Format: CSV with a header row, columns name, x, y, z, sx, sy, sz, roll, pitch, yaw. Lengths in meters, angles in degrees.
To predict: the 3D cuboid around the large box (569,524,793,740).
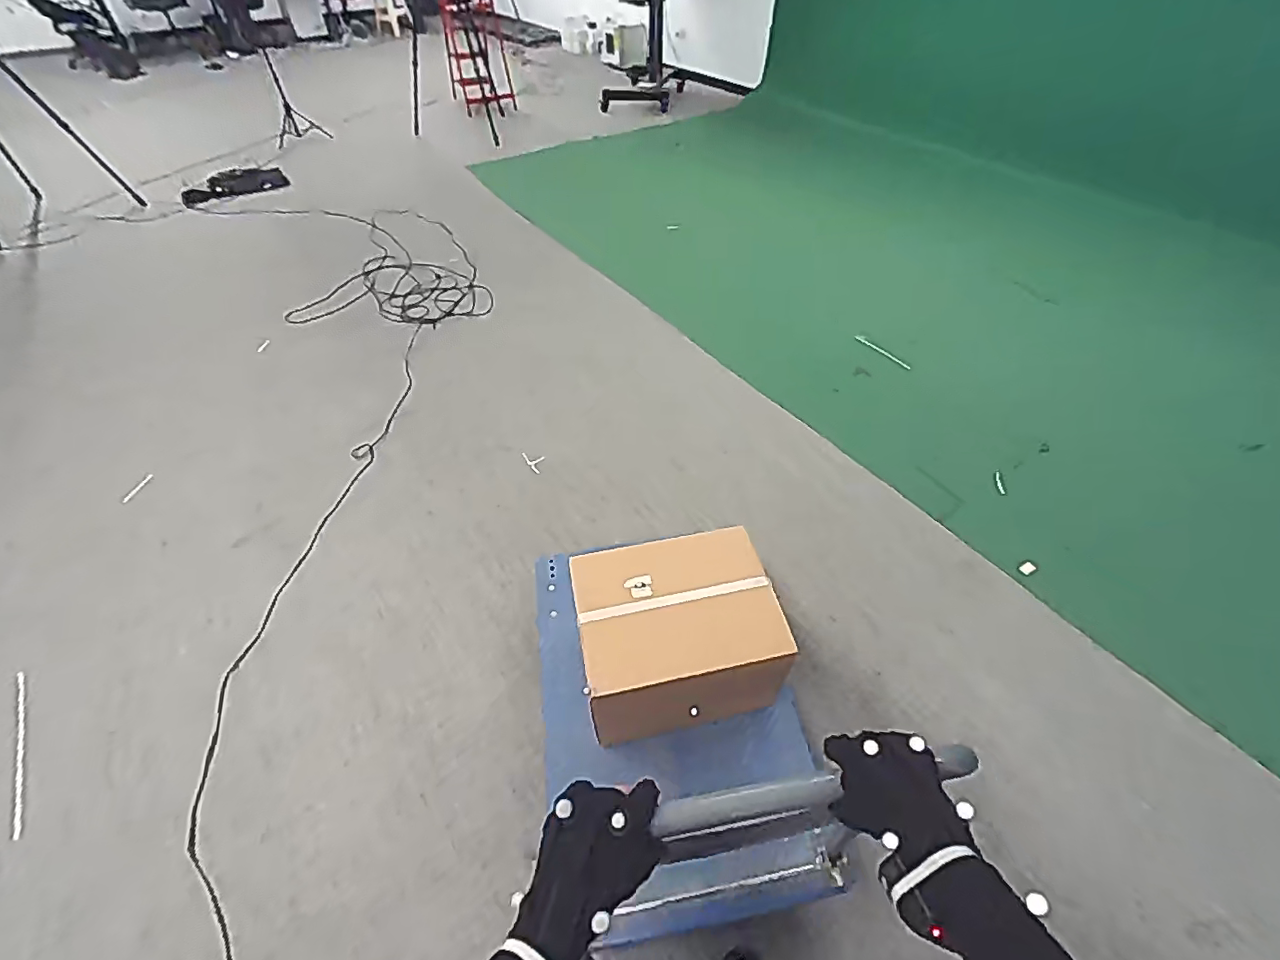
name,x,y,z,sx,sy,sz,roll,pitch,yaw
large box,0.074,0.343,1.219,0.408,0.320,0.320,-10,49,-8
